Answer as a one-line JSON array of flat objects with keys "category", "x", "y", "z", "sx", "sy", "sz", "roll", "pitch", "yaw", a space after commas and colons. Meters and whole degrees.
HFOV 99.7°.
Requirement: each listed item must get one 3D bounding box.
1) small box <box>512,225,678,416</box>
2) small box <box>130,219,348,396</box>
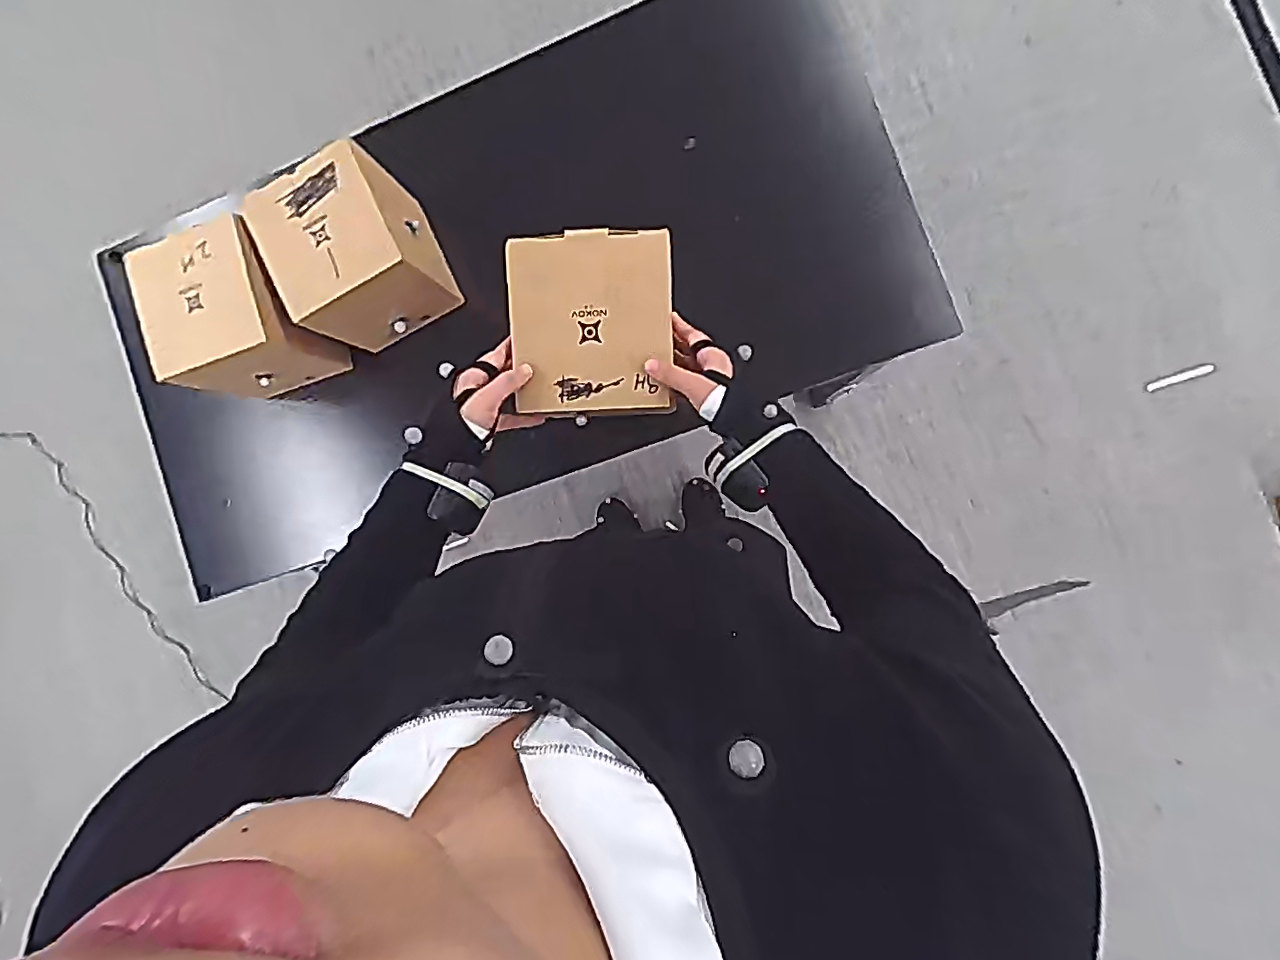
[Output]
[{"category": "small box", "x": -0.041, "y": -0.167, "z": 0.618, "sx": 0.168, "sy": 0.176, "sz": 0.179, "roll": -2, "pitch": 94, "yaw": 4}, {"category": "small box", "x": -0.552, "y": -0.226, "z": 0.768, "sx": 0.168, "sy": 0.176, "sz": 0.179, "roll": -17, "pitch": 87, "yaw": 7}]
